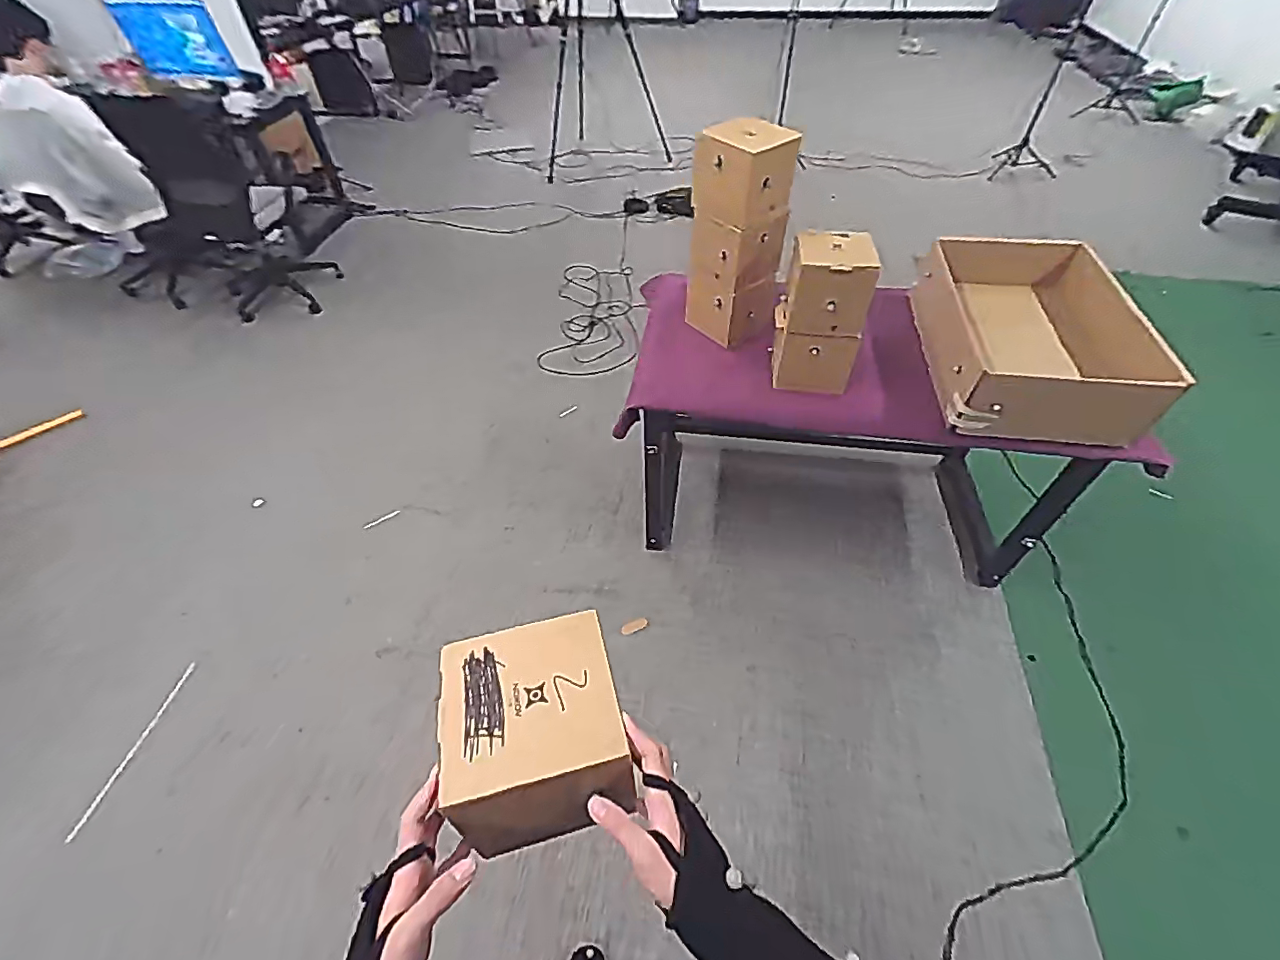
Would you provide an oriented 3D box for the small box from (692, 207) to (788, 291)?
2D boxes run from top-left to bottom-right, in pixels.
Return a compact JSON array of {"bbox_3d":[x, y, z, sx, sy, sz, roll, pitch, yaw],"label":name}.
[{"bbox_3d":[0.250,-0.614,1.392,0.179,0.176,0.168,-31,57,-24],"label":"small box"}]

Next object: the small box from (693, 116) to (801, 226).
[{"bbox_3d":[0.244,-0.721,1.270,0.168,0.176,0.179,-33,58,-24],"label":"small box"}]

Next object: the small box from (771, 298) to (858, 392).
[{"bbox_3d":[0.431,-0.340,1.367,0.179,0.176,0.168,5,49,5],"label":"small box"}]

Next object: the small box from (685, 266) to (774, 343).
[{"bbox_3d":[0.245,-0.506,1.514,0.168,0.176,0.179,-31,56,-24],"label":"small box"}]

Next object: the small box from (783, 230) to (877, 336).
[{"bbox_3d":[0.429,-0.452,1.248,0.168,0.176,0.179,6,49,5],"label":"small box"}]
